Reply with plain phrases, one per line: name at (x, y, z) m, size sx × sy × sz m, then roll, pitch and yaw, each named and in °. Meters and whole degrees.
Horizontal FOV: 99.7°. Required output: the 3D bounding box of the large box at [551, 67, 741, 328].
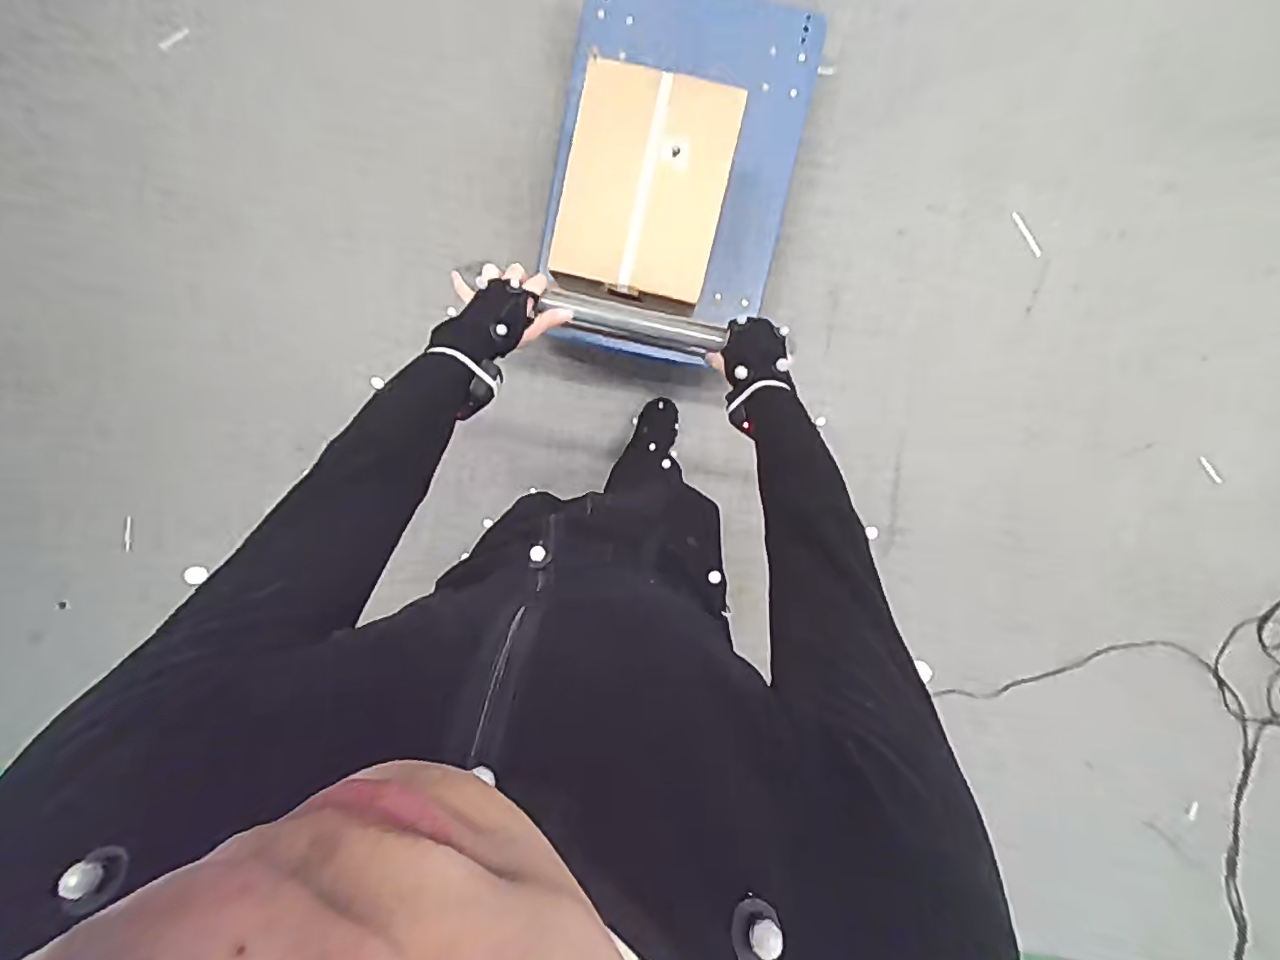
large box at (0.013, -0.590, 1.211) m, size 0.320 × 0.320 × 0.408 m, roll 13°, pitch 96°, yaw -1°
